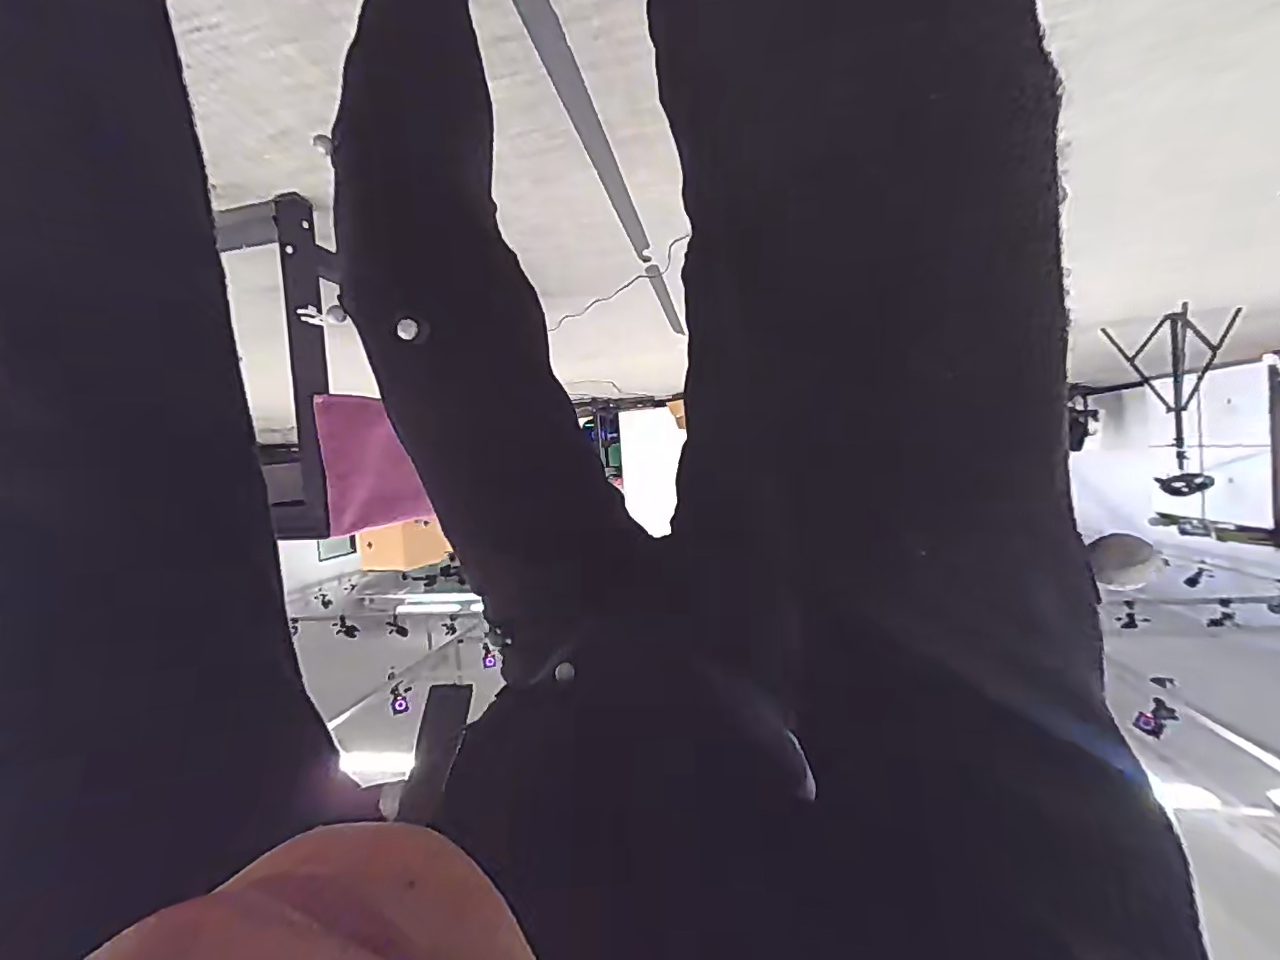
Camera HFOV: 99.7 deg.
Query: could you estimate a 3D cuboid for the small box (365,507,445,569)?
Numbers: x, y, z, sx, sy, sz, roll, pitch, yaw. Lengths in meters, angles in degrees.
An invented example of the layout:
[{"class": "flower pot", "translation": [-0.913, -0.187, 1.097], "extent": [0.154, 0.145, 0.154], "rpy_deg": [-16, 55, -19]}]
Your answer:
[{"class": "small box", "translation": [-0.740, 0.178, 1.700], "extent": [0.179, 0.176, 0.168], "rpy_deg": [-3, -176, 22]}]
